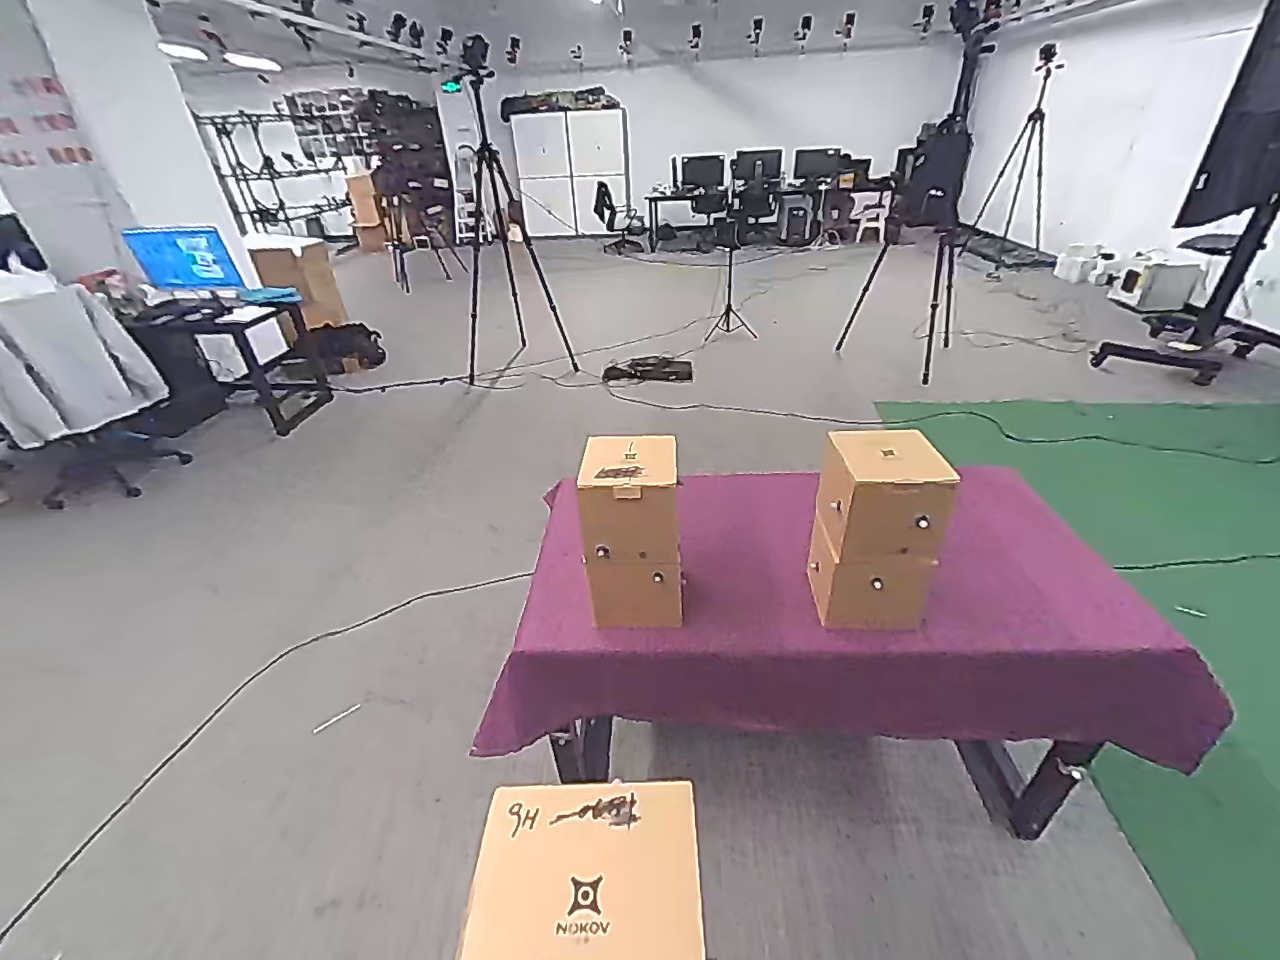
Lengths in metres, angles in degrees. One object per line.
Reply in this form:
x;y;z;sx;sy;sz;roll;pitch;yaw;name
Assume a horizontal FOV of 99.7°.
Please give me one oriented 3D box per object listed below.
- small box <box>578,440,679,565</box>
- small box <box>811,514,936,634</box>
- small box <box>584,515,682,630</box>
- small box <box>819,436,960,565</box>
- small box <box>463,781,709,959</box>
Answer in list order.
-0.012;0.041;0.986;0.168;0.176;0.179;0;31;3;small box
0.432;0.177;1.036;0.179;0.176;0.168;0;33;5;small box
-0.007;0.180;1.072;0.179;0.176;0.168;0;32;3;small box
0.425;0.036;0.954;0.168;0.176;0.179;0;32;3;small box
-0.030;0.365;0.419;0.168;0.176;0.179;-3;33;2;small box
